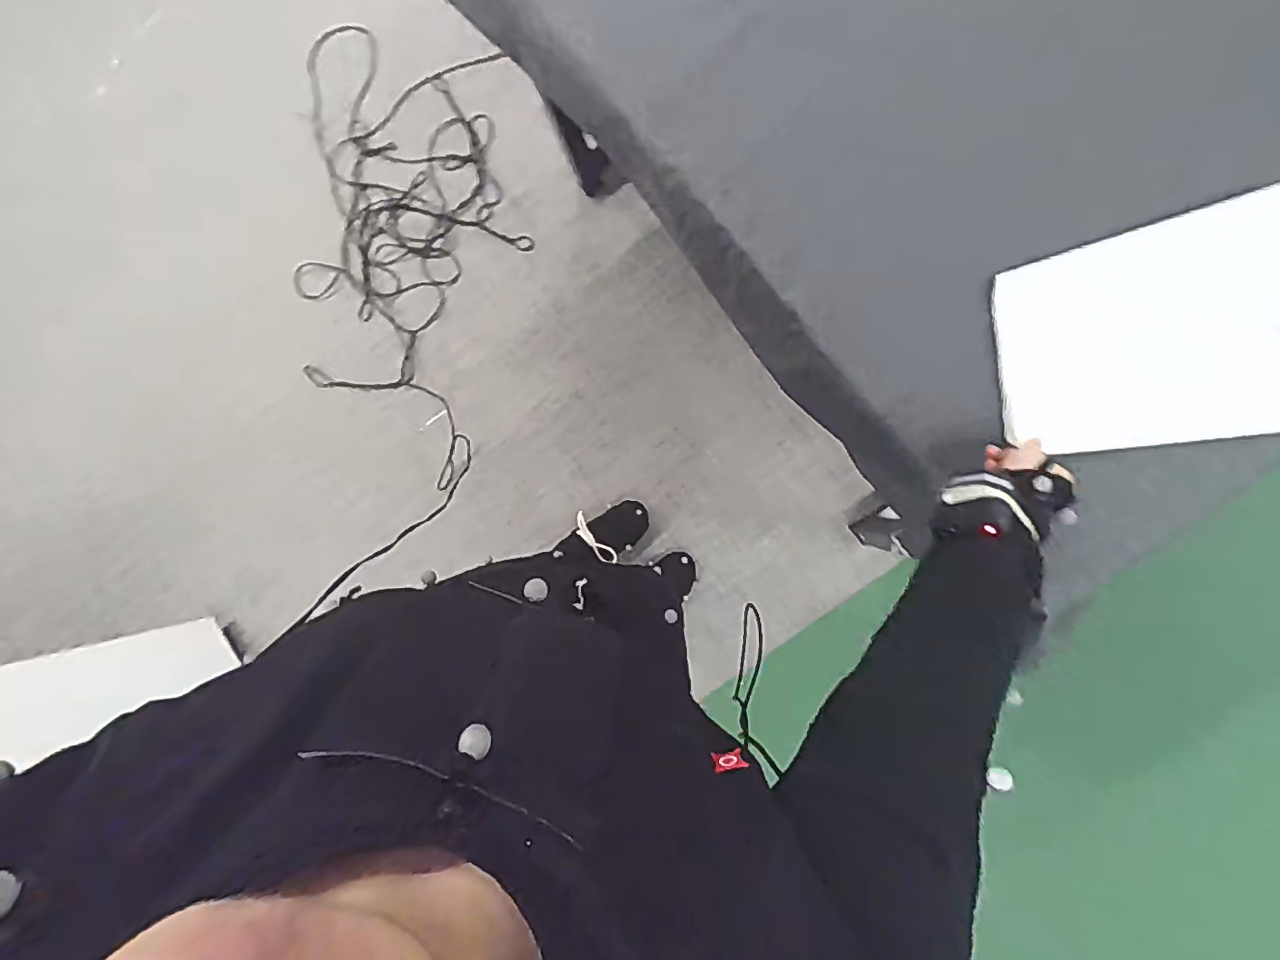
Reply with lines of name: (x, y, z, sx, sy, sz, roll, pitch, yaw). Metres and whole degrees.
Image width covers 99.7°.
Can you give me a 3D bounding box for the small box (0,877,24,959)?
small box: (-1.084, 0.725, 0.798, 0.179, 0.176, 0.168, -36, 82, 7)
